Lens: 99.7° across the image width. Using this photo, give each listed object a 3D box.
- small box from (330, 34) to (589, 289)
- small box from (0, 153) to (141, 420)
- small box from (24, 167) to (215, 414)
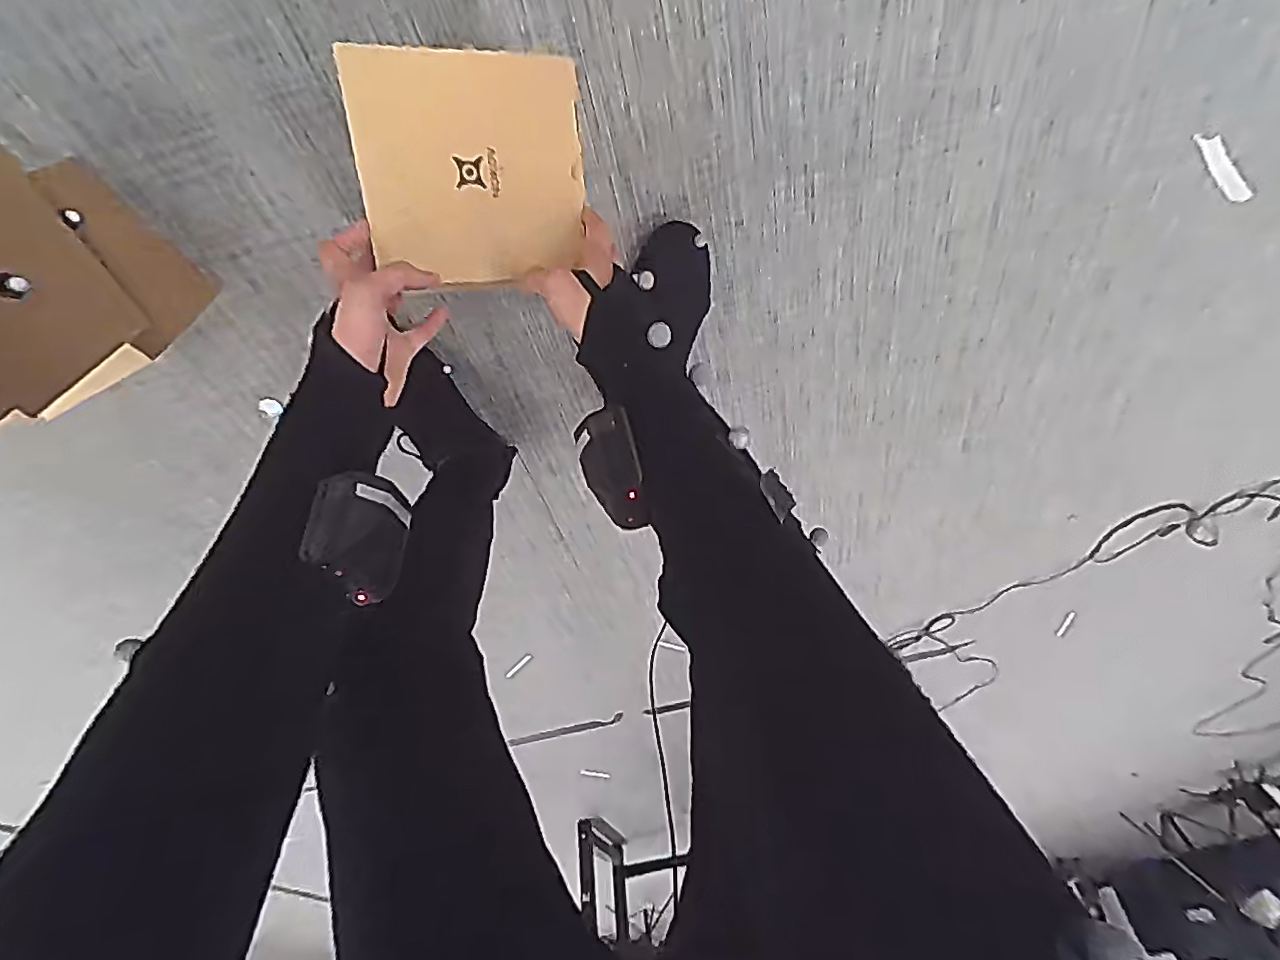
[{"bbox_3d":[-0.152,-0.266,0.493,0.179,0.176,0.168,-8,109,-15],"label":"small box"},{"bbox_3d":[-0.572,-0.152,0.423,0.168,0.176,0.179,-10,133,2],"label":"small box"},{"bbox_3d":[-0.628,-0.210,0.586,0.168,0.176,0.179,-22,133,12],"label":"small box"}]
